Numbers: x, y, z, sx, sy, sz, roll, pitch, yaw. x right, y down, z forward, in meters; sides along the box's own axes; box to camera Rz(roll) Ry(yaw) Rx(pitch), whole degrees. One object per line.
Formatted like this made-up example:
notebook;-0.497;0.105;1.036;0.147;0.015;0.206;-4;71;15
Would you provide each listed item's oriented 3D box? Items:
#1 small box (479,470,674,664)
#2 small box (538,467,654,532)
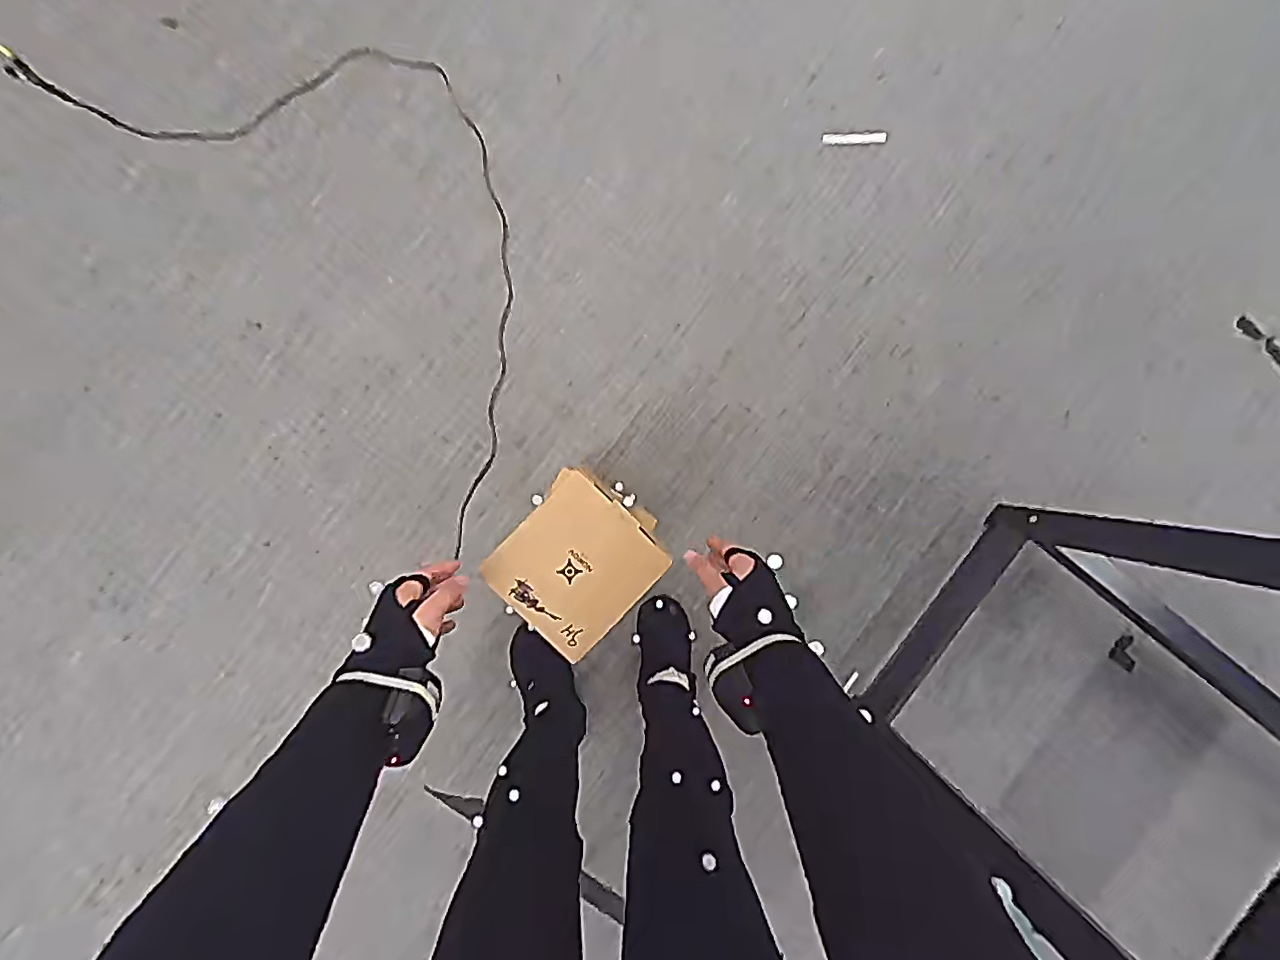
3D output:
small box;-0.082;0.100;0.717;0.168;0.176;0.179;44;88;-5
small box;-0.094;0.093;0.881;0.168;0.176;0.179;30;89;-5
